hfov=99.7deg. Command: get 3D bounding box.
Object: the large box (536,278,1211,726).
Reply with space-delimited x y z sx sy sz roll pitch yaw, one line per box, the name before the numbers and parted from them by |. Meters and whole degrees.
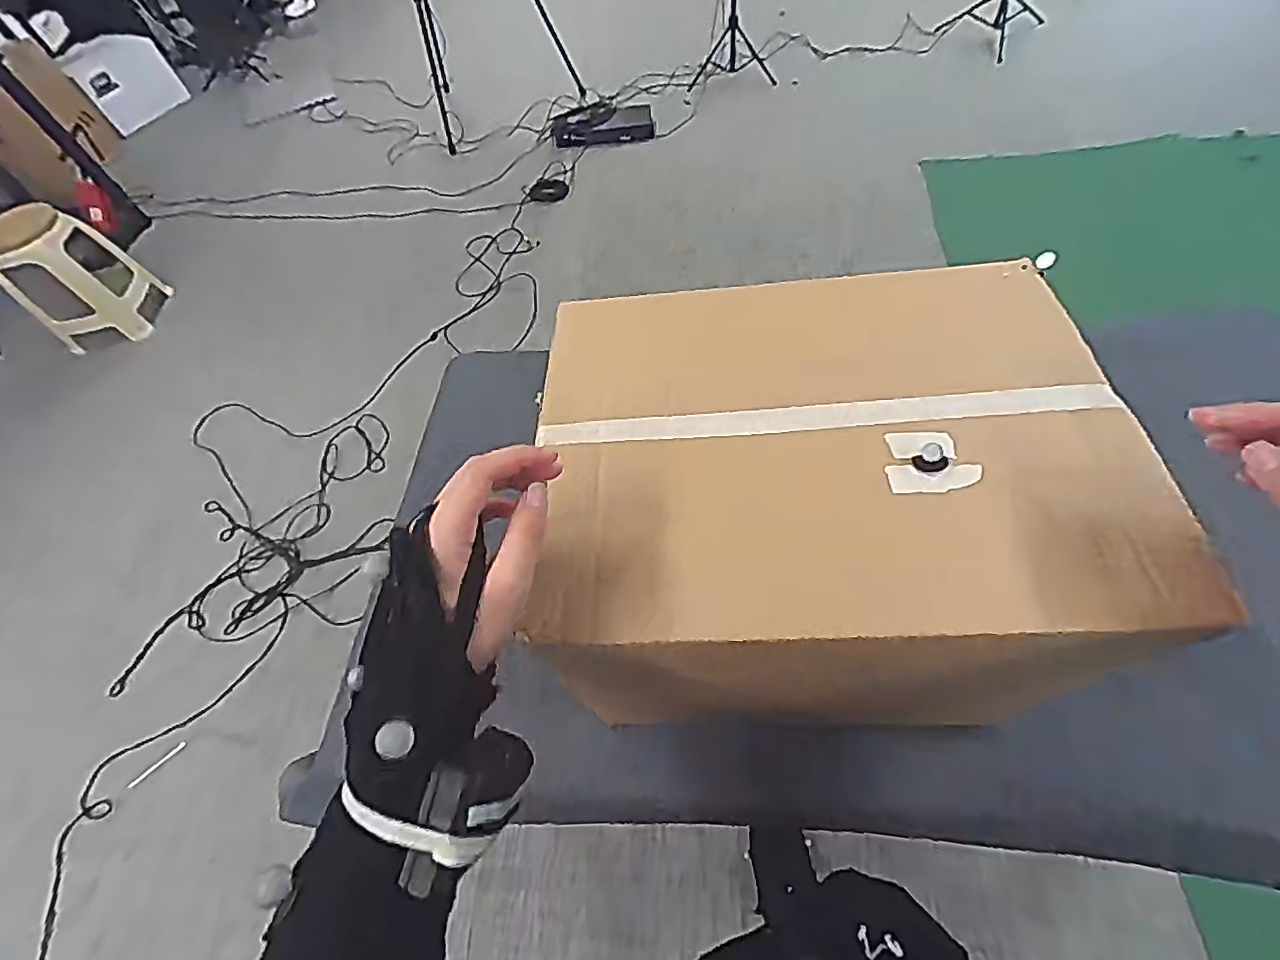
large box | 0.143 0.044 0.527 0.408 0.320 0.320 -3 57 5
